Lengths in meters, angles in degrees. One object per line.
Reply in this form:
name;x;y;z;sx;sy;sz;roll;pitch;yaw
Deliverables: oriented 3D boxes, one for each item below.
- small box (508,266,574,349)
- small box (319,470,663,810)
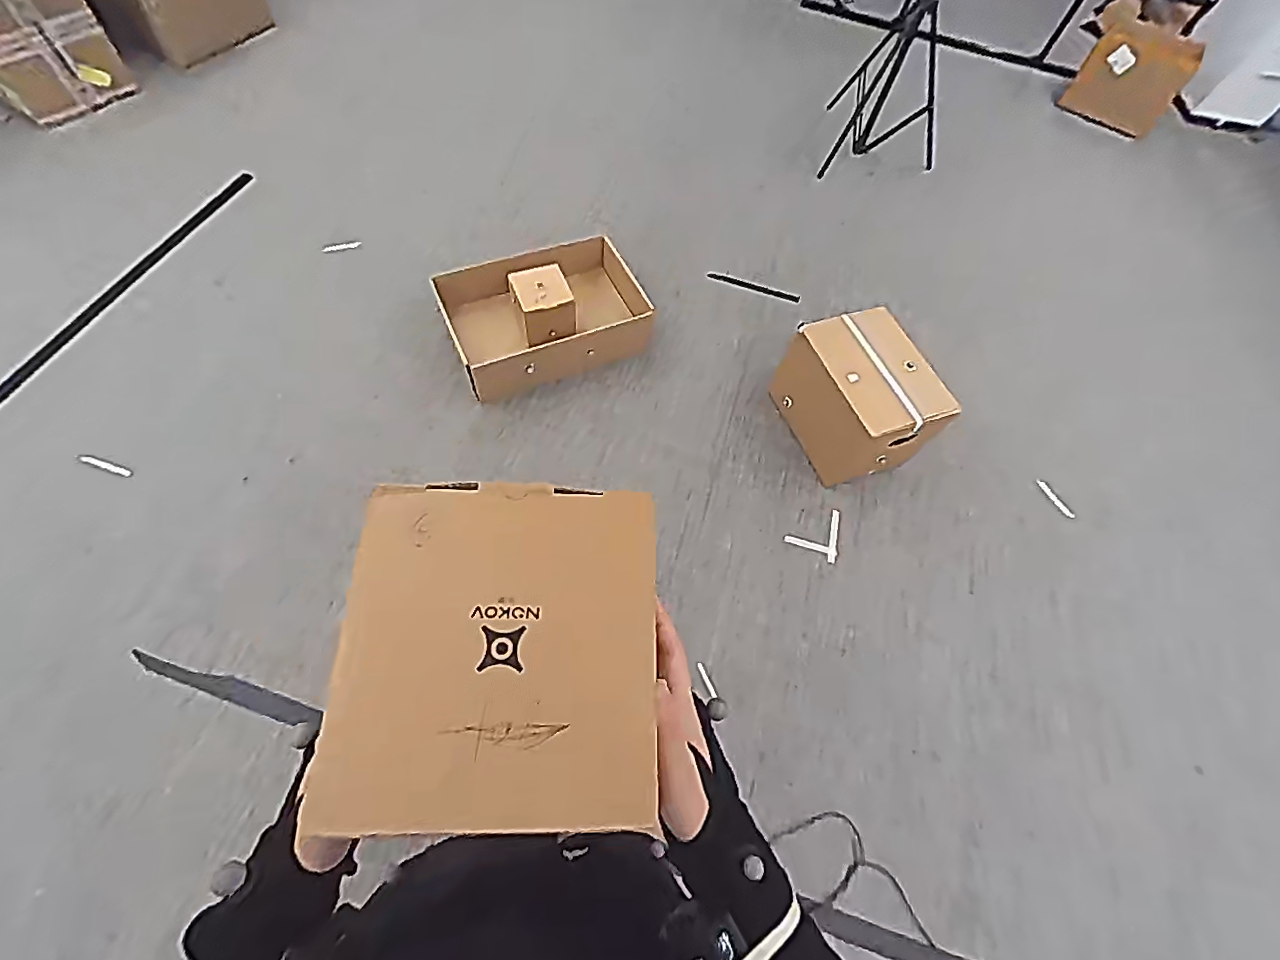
small box;-0.319;-0.559;1.759;0.168;0.176;0.179;-19;66;-15
small box;-0.078;0.108;0.364;0.168;0.176;0.179;2;67;-6
